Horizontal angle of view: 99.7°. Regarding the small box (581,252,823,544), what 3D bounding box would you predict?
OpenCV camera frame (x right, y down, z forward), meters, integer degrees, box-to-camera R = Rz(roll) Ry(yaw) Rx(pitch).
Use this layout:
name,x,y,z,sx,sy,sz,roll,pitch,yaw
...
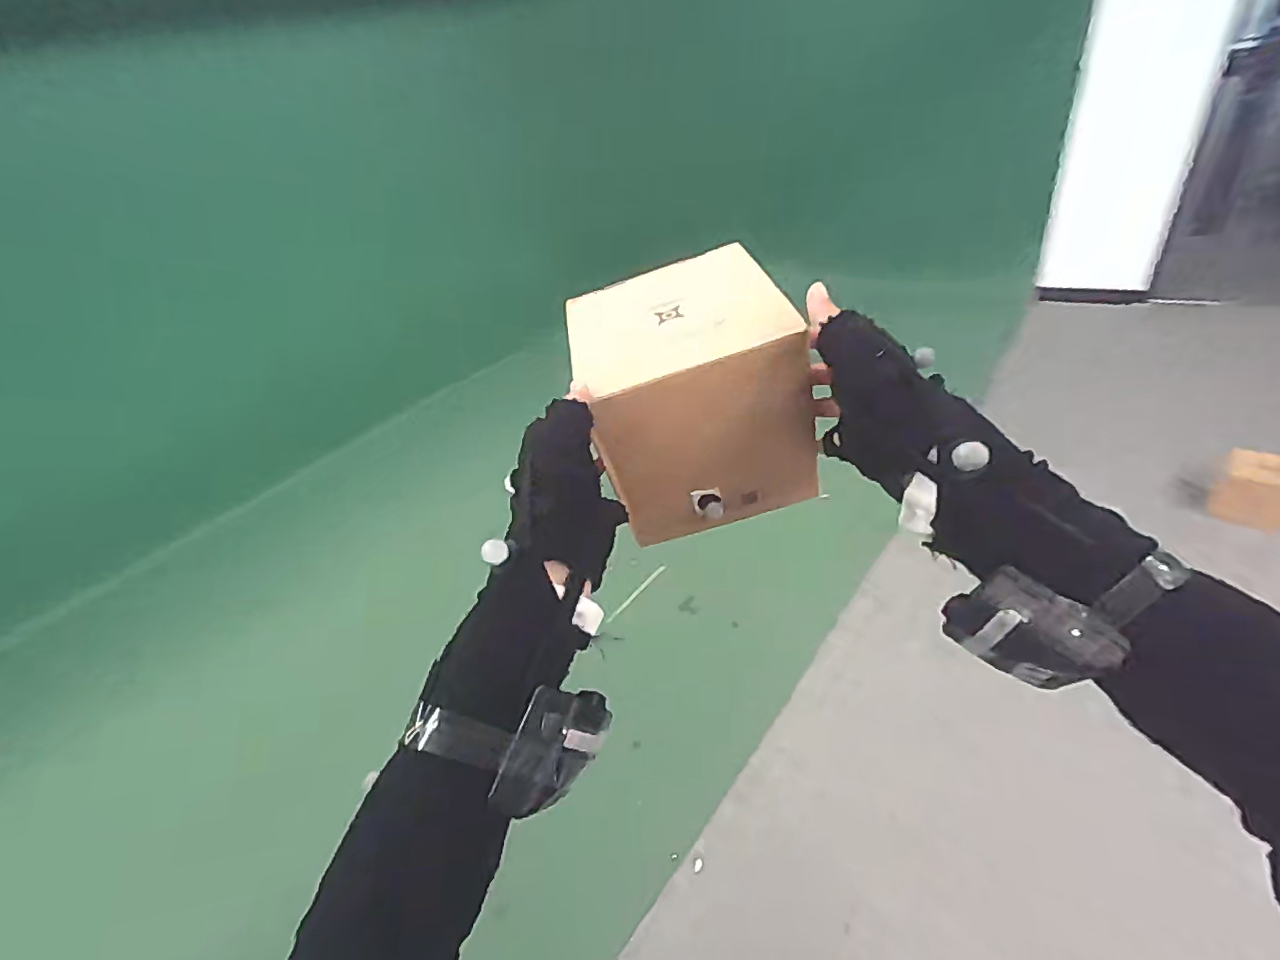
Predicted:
name,x,y,z,sx,sy,sz,roll,pitch,yaw
small box,0.054,-0.073,0.491,0.168,0.176,0.179,-18,43,5

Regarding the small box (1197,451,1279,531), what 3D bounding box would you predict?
name,x,y,z,sx,sy,sz,roll,pitch,yaw
small box,1.914,0.037,1.700,0.179,0.176,0.168,20,48,41
